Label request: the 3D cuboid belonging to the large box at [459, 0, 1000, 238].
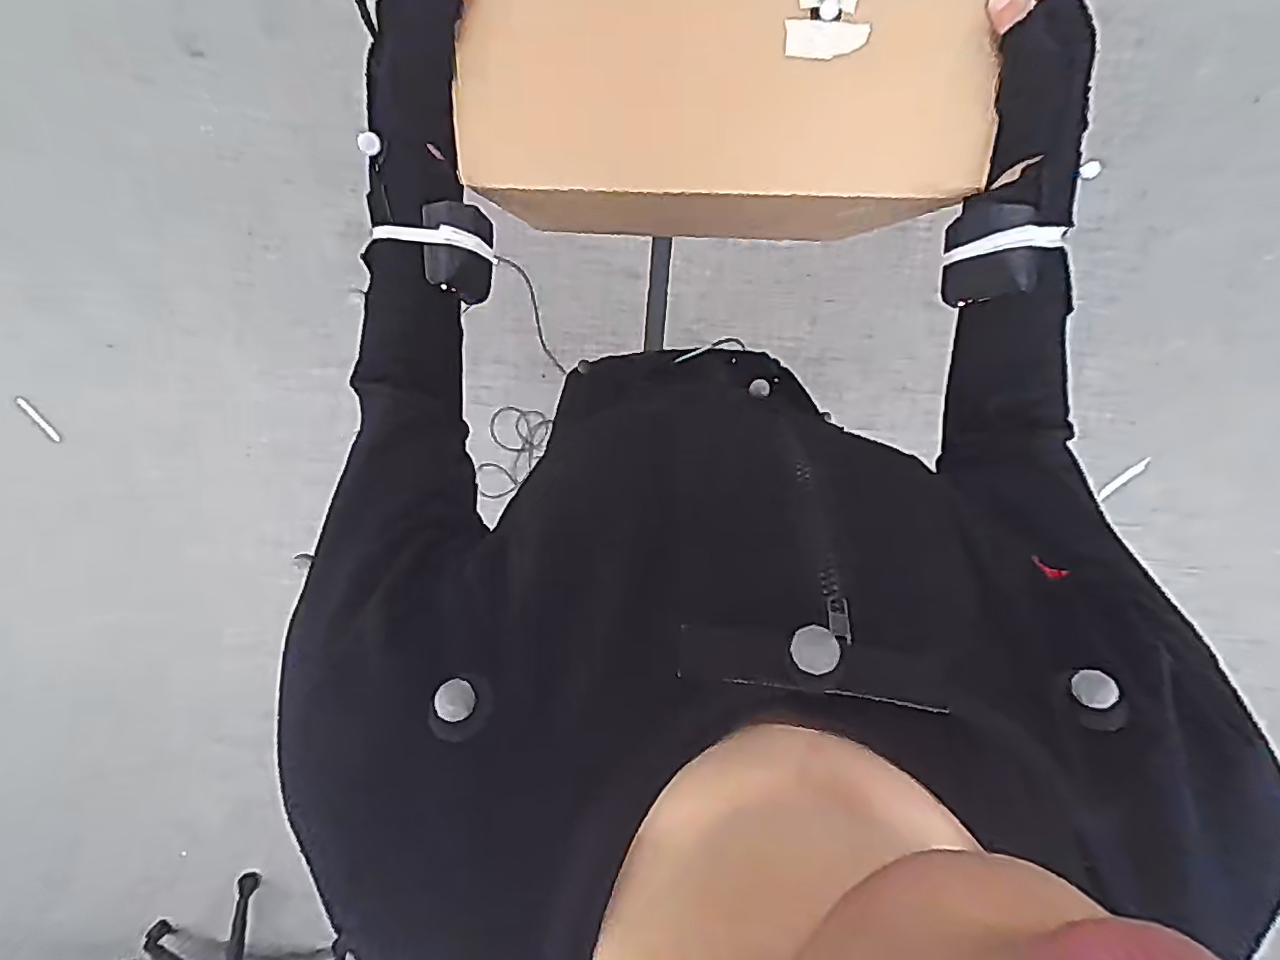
[{"bbox_3d":[0.063,-0.422,0.527,0.408,0.320,0.320,1,109,-1],"label":"large box"}]
